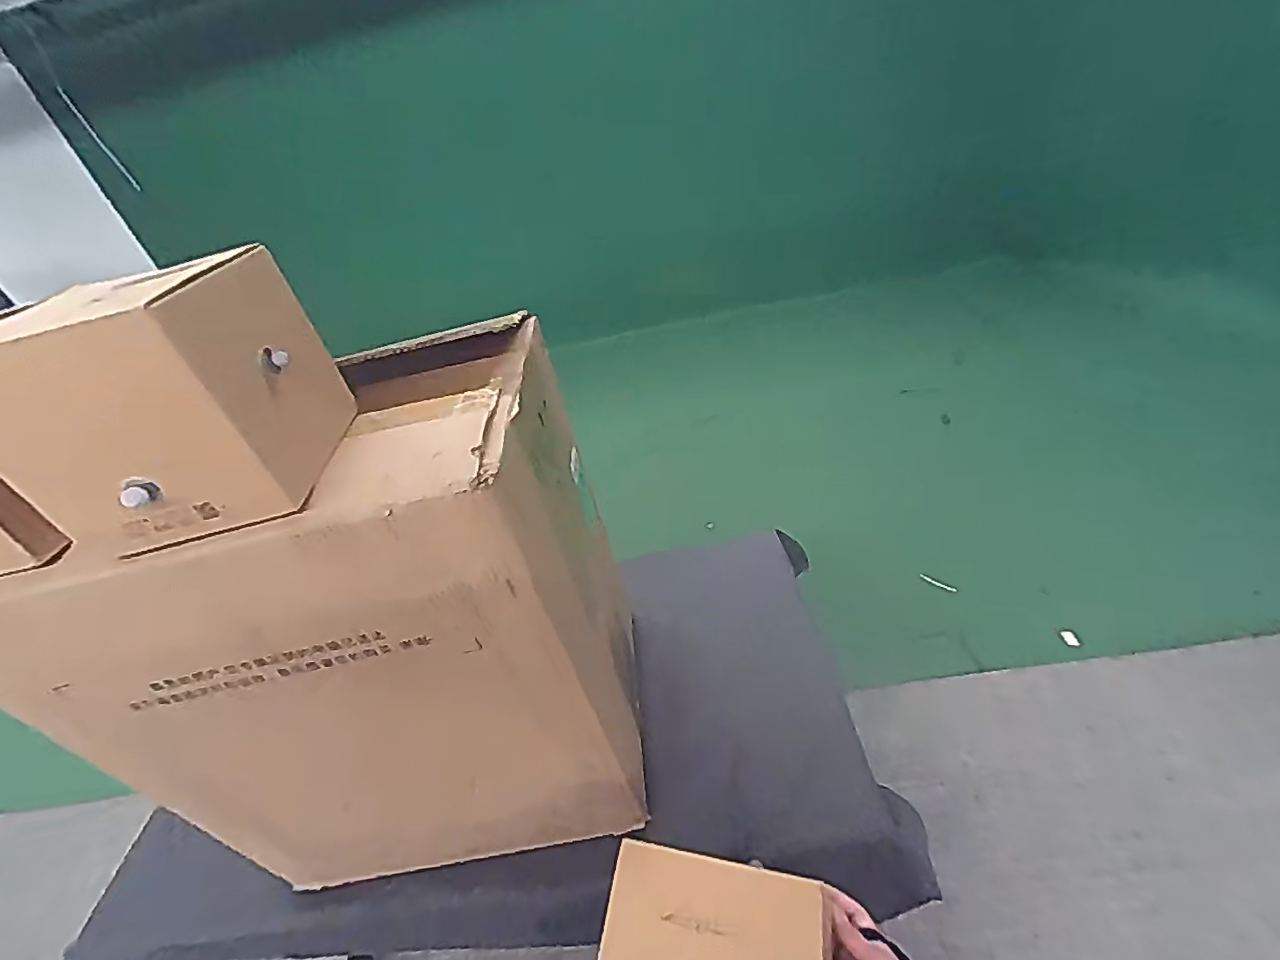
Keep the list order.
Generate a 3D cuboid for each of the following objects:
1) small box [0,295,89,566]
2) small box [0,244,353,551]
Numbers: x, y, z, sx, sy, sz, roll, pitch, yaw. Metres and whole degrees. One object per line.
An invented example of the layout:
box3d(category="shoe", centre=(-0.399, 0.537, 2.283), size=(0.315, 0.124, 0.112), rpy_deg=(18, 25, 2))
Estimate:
box3d(category="small box", centre=(-0.578, -0.032, 0.465), size=(0.168, 0.176, 0.179), rpy_deg=(-12, 36, 5))
box3d(category="small box", centre=(-0.368, -0.071, 0.442), size=(0.168, 0.176, 0.179), rpy_deg=(-14, 38, 0))
